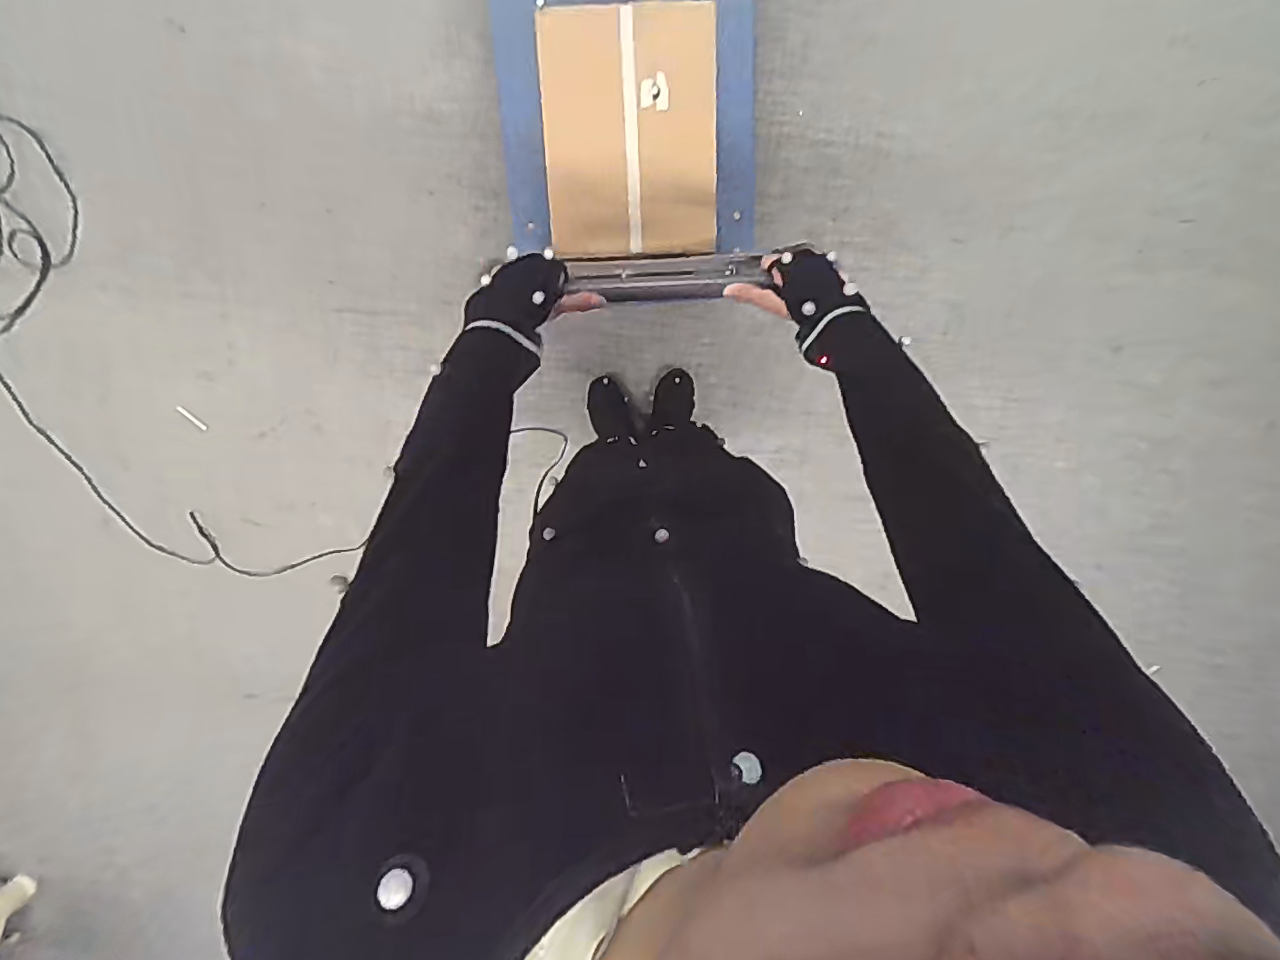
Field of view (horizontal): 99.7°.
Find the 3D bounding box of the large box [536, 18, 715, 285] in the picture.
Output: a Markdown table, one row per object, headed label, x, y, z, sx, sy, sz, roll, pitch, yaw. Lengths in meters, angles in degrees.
| label | x | y | z | sx | sy | sz | roll | pitch | yaw |
| --- | --- | --- | --- | --- | --- | --- | --- | --- | --- |
| large box | -0.023 | -0.648 | 1.144 | 0.320 | 0.320 | 0.408 | -3 | 103 | -1 |
